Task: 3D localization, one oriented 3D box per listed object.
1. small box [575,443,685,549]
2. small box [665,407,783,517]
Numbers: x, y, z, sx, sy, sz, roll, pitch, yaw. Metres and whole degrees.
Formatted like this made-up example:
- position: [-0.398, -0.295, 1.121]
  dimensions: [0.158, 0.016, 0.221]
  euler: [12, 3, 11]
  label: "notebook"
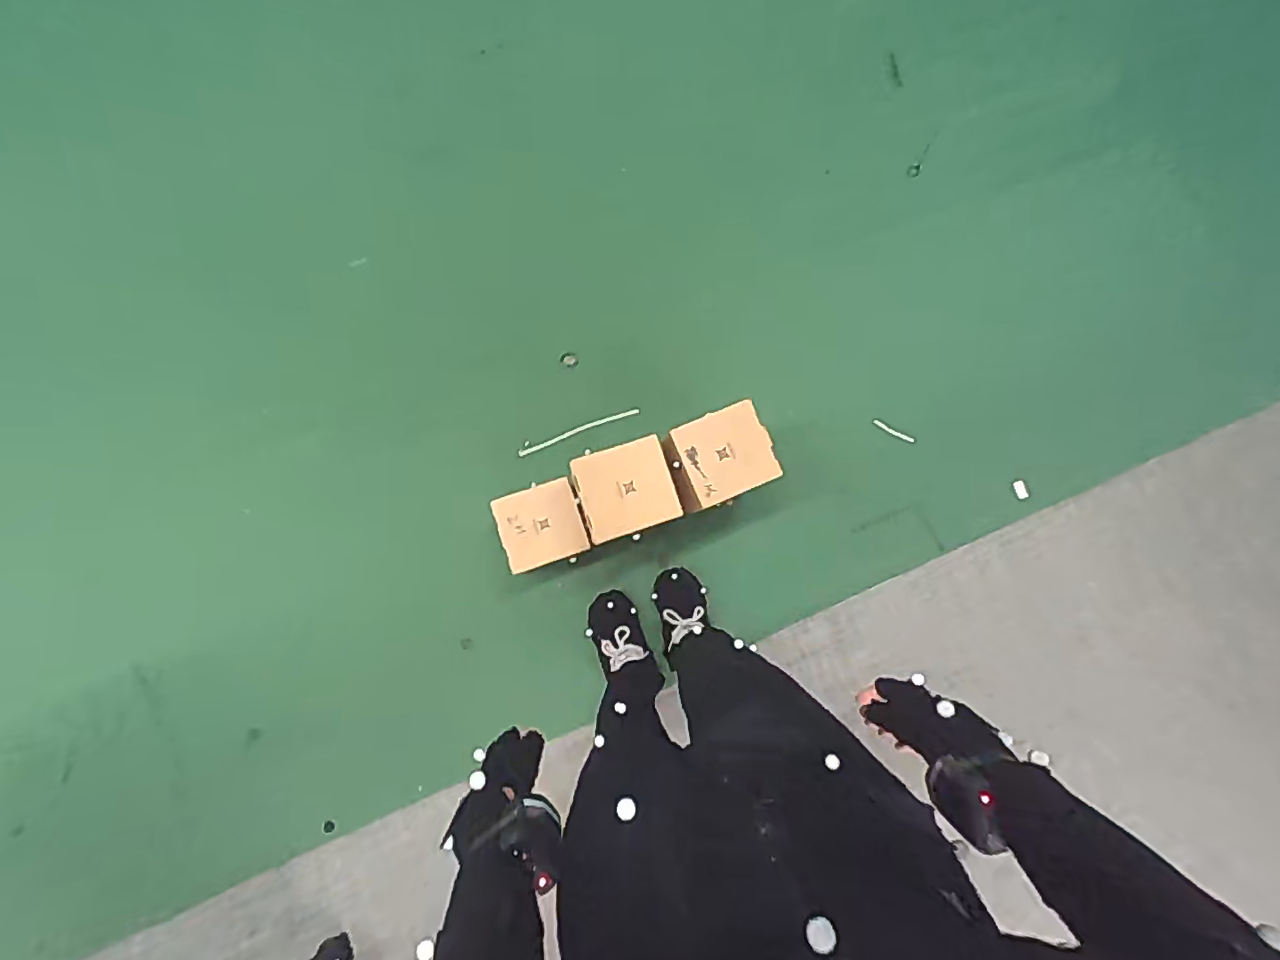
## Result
- position: [-0.026, 0.035, 1.097]
  dimensions: [0.179, 0.176, 0.168]
  euler: [-17, 86, -6]
  label: "small box"
- position: [0.162, -0.031, 1.121]
  dimensions: [0.179, 0.176, 0.168]
  euler: [-22, 85, -7]
  label: "small box"
